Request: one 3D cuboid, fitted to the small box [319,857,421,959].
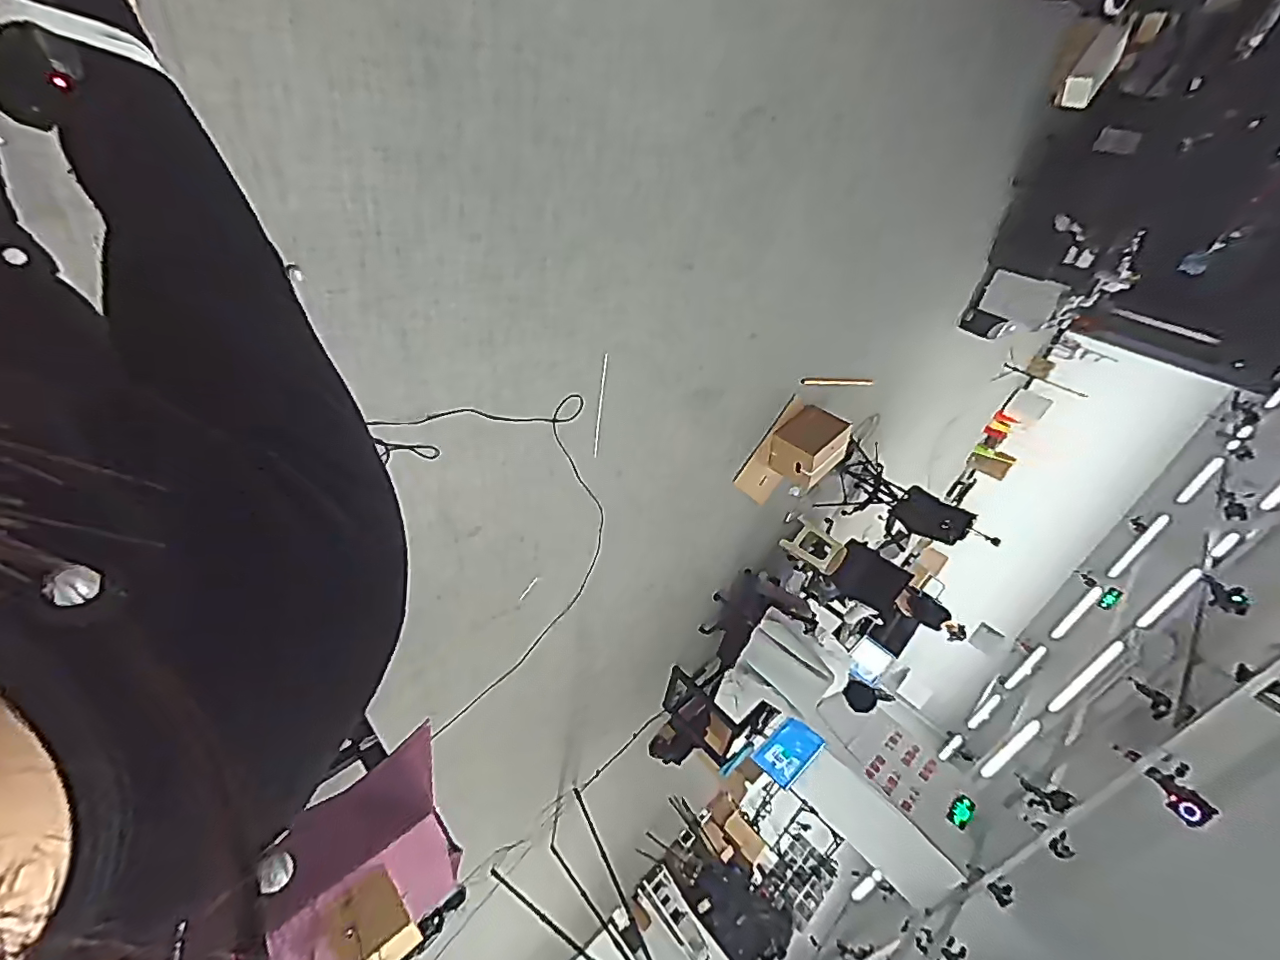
[{"bbox_3d":[-0.686,1.109,1.374,0.168,0.176,0.179,-27,141,-35],"label":"small box"}]
